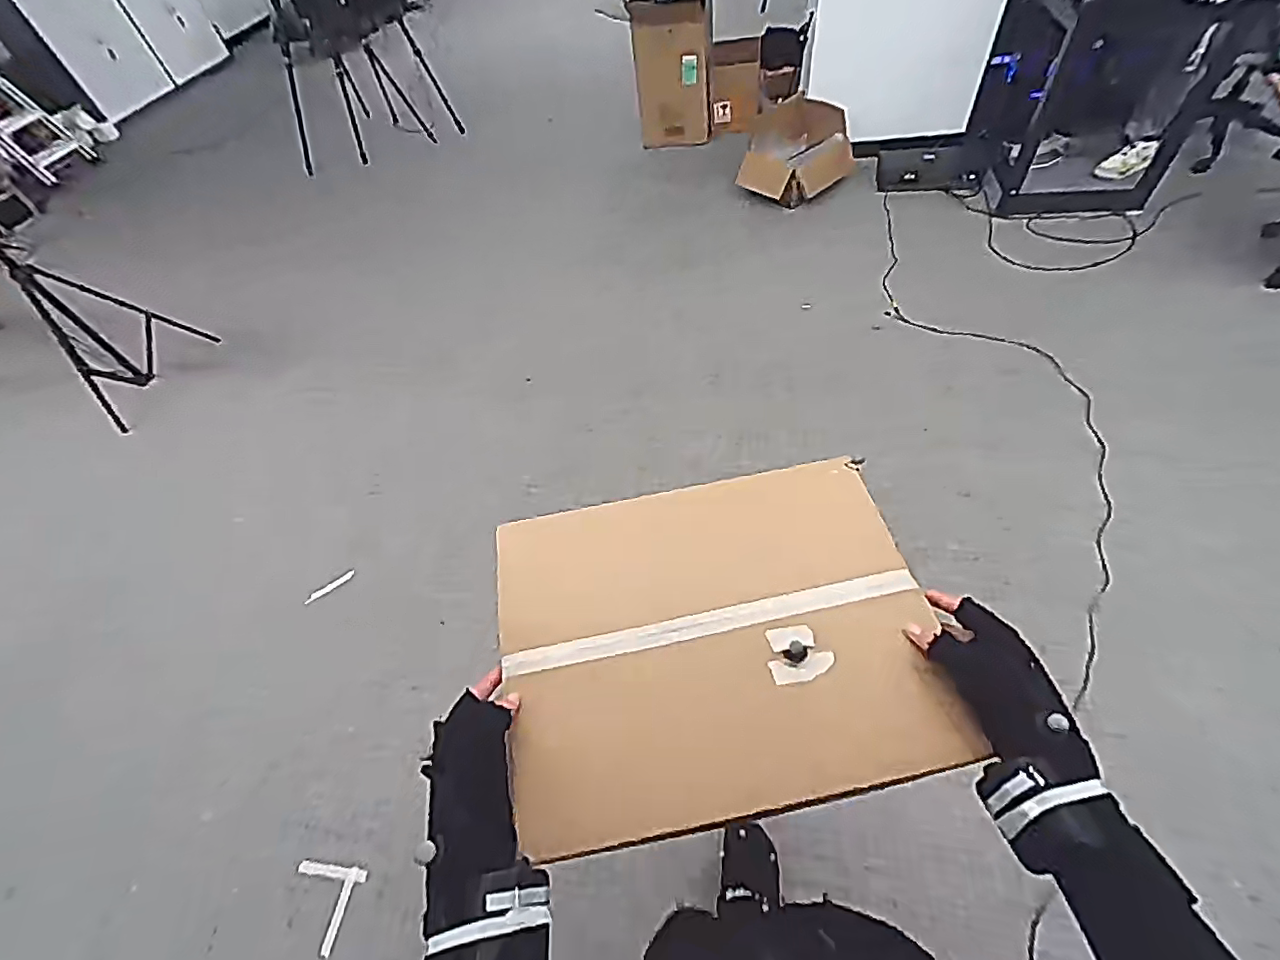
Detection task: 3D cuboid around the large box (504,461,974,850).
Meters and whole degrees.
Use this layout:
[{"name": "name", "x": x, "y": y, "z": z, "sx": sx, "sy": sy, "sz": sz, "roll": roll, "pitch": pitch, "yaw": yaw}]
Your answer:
[{"name": "large box", "x": 0.077, "y": 0.223, "z": 0.659, "sx": 0.408, "sy": 0.320, "sz": 0.320, "roll": -11, "pitch": 56, "yaw": -3}]
